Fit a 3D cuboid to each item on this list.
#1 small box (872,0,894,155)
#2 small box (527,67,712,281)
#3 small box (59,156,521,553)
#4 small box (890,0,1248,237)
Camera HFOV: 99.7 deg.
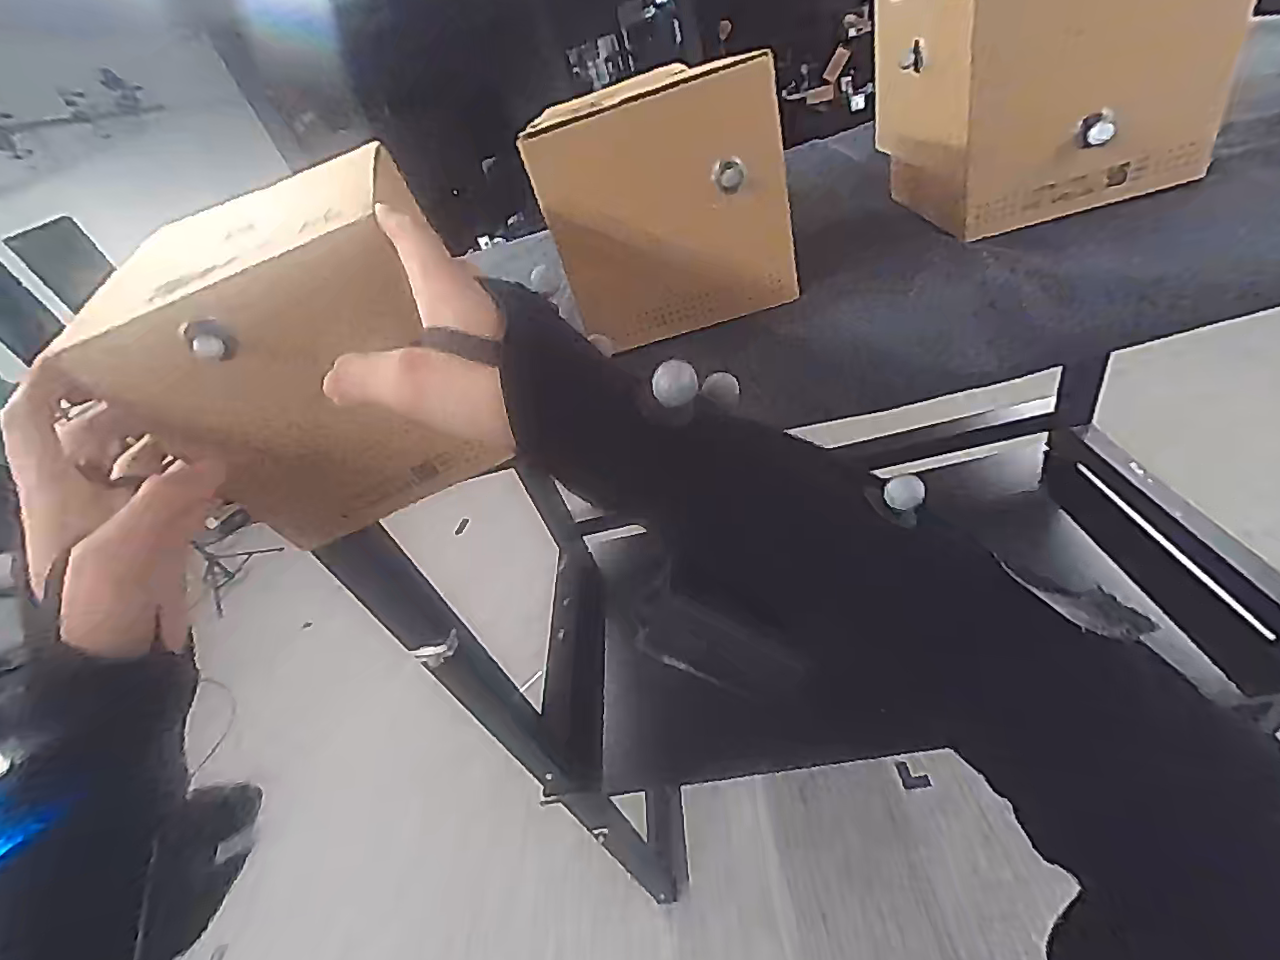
[{"bbox_3d":[0.371,-0.464,0.593,0.168,0.176,0.179,-14,38,7],"label":"small box"},{"bbox_3d":[-0.013,-0.369,0.659,0.179,0.176,0.168,-13,38,10],"label":"small box"},{"bbox_3d":[-0.199,-0.084,0.367,0.168,0.176,0.179,-25,45,-1],"label":"small box"},{"bbox_3d":[0.310,-0.315,0.432,0.168,0.176,0.179,-12,37,12],"label":"small box"}]
